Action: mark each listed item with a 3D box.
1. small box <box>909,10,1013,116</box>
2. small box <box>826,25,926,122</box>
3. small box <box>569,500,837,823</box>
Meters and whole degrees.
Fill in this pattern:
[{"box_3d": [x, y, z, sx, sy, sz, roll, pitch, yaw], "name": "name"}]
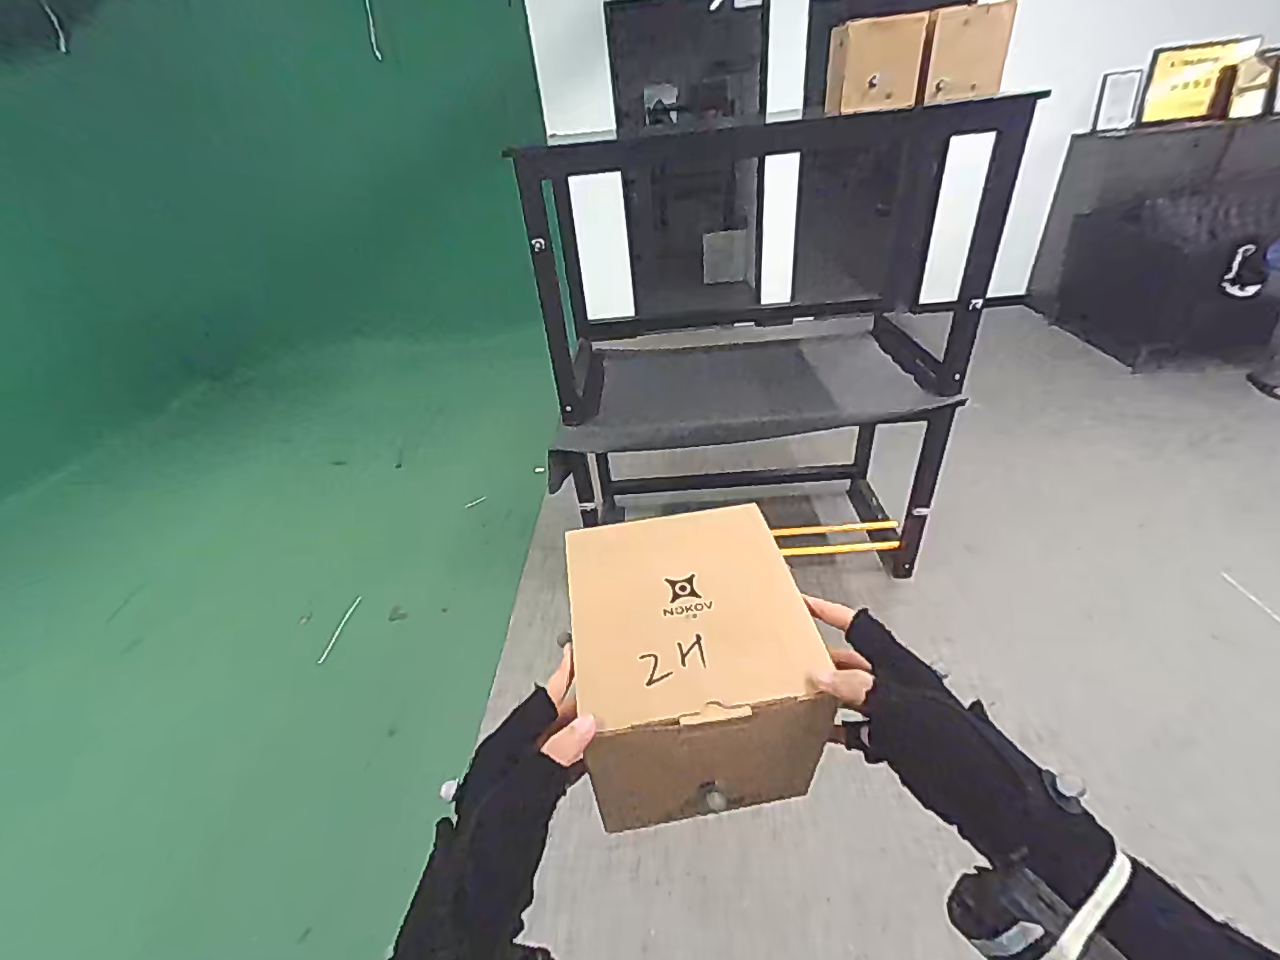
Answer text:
[{"box_3d": [0.730, -0.968, 1.268, 0.168, 0.176, 0.179, -3, 33, 6], "name": "small box"}, {"box_3d": [0.549, -0.956, 1.284, 0.168, 0.176, 0.179, -2, 34, 7], "name": "small box"}, {"box_3d": [0.035, 0.142, 0.441, 0.168, 0.176, 0.179, -8, 39, -4], "name": "small box"}]
